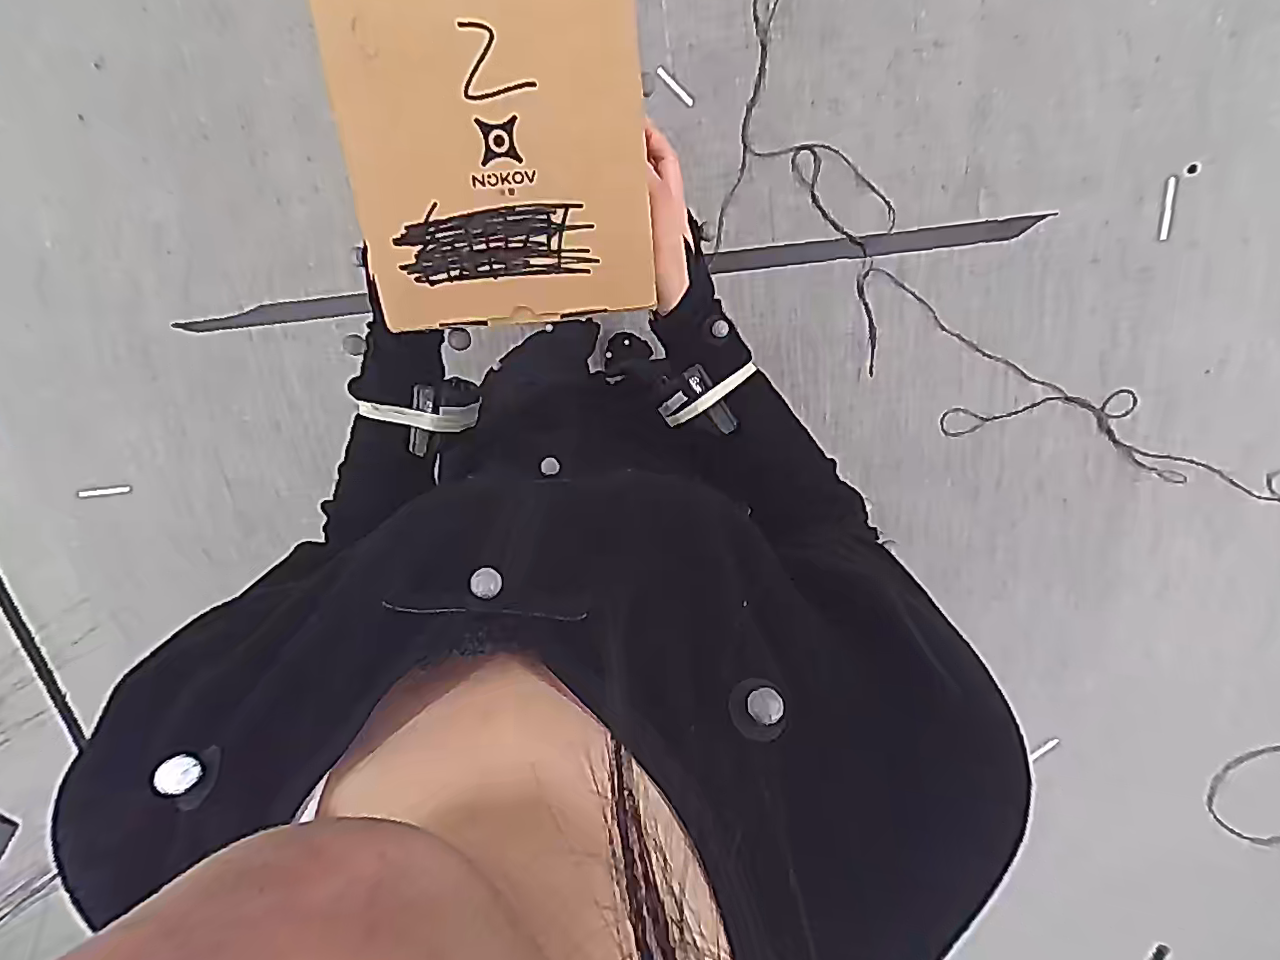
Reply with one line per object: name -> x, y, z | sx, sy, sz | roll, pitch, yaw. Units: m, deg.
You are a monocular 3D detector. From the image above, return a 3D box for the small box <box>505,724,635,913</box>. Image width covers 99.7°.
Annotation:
small box -> -0.094, 0.500, 0.813 | 0.168, 0.176, 0.179 | -5, 107, 0
